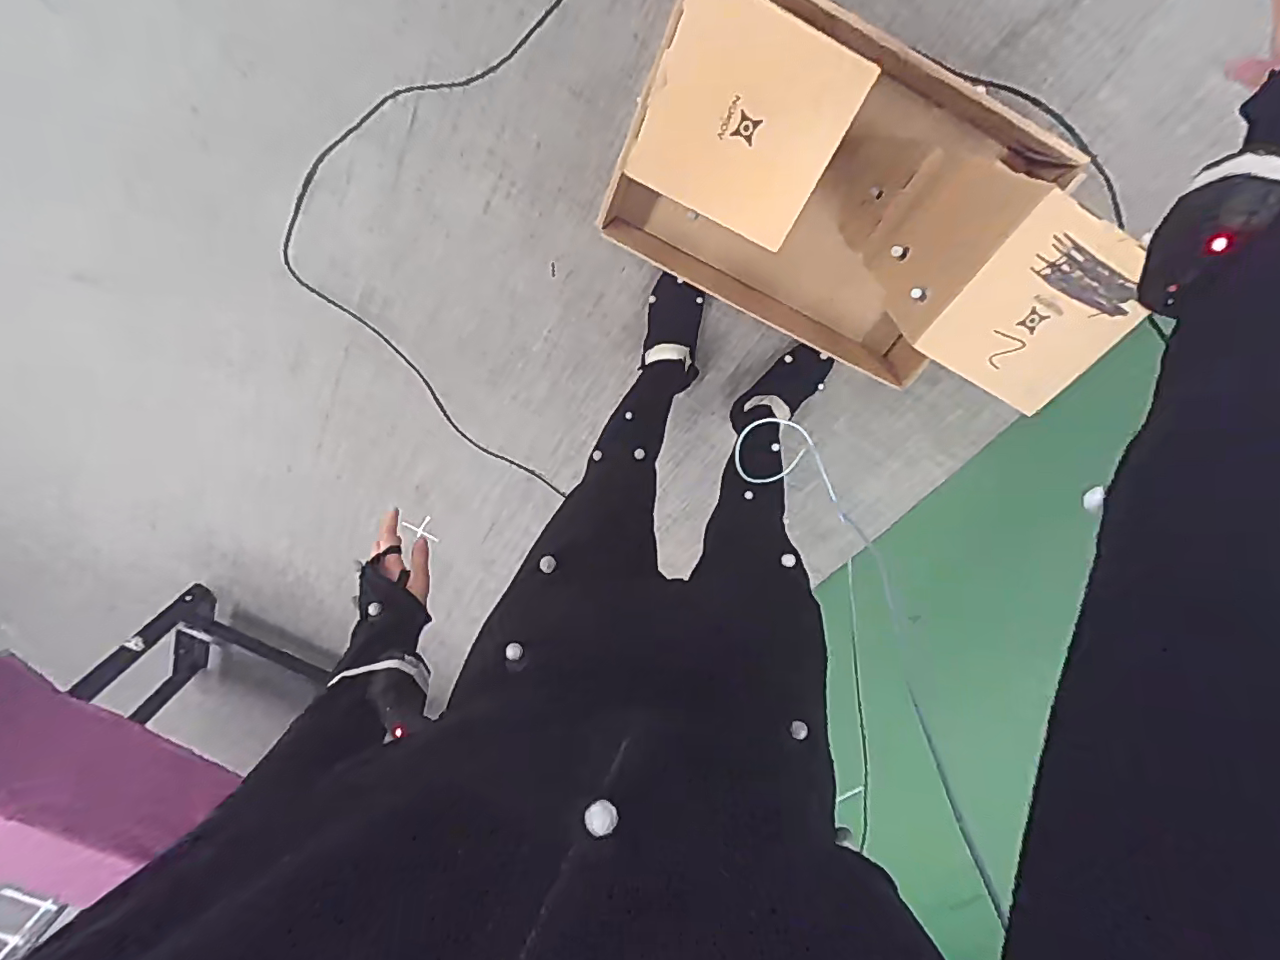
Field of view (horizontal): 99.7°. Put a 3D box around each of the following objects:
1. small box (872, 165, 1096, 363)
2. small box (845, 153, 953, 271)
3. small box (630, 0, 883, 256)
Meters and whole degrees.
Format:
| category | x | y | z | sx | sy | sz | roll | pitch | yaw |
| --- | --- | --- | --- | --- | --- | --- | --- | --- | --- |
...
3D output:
| category | x | y | z | sx | sy | sz | roll | pitch | yaw |
| --- | --- | --- | --- | --- | --- | --- | --- | --- | --- |
| small box | 0.445 | -0.299 | 0.740 | 0.168 | 0.176 | 0.179 | 29 | 123 | -10 |
| small box | 0.458 | -0.397 | 0.872 | 0.179 | 0.176 | 0.168 | 29 | 124 | -9 |
| small box | 0.113 | -0.367 | 0.560 | 0.179 | 0.176 | 0.168 | 26 | 126 | -6 |
